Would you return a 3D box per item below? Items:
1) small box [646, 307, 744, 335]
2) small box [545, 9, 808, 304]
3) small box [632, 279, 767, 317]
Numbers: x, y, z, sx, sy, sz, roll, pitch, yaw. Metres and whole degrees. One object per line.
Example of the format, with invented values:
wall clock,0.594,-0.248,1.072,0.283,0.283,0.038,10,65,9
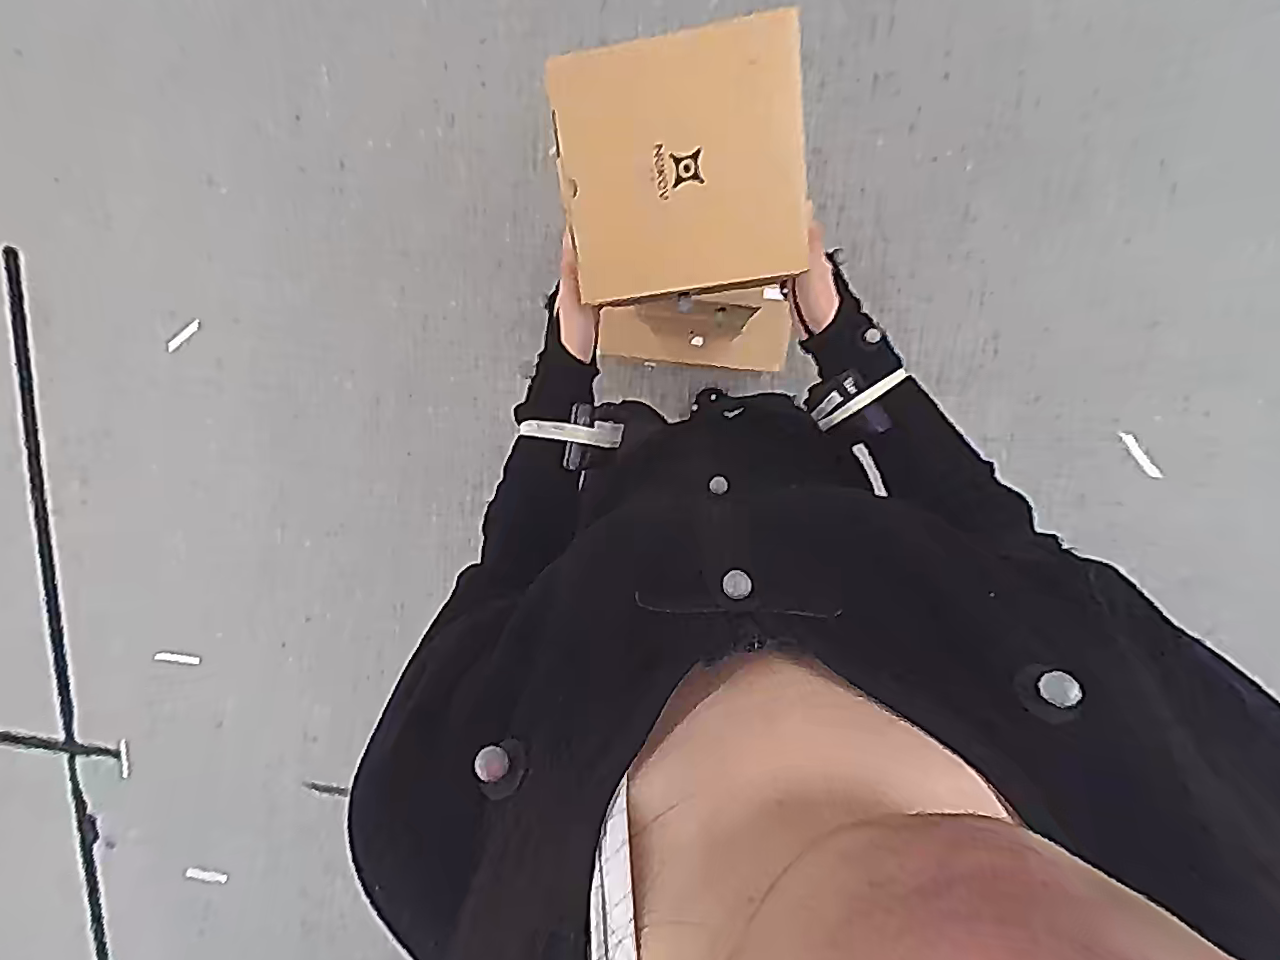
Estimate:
small box,0.111,-0.371,1.036,0.179,0.176,0.168,5,102,4
small box,0.036,-0.249,0.463,0.179,0.176,0.168,-6,108,8
small box,0.079,-0.314,0.713,0.179,0.176,0.168,8,101,4
